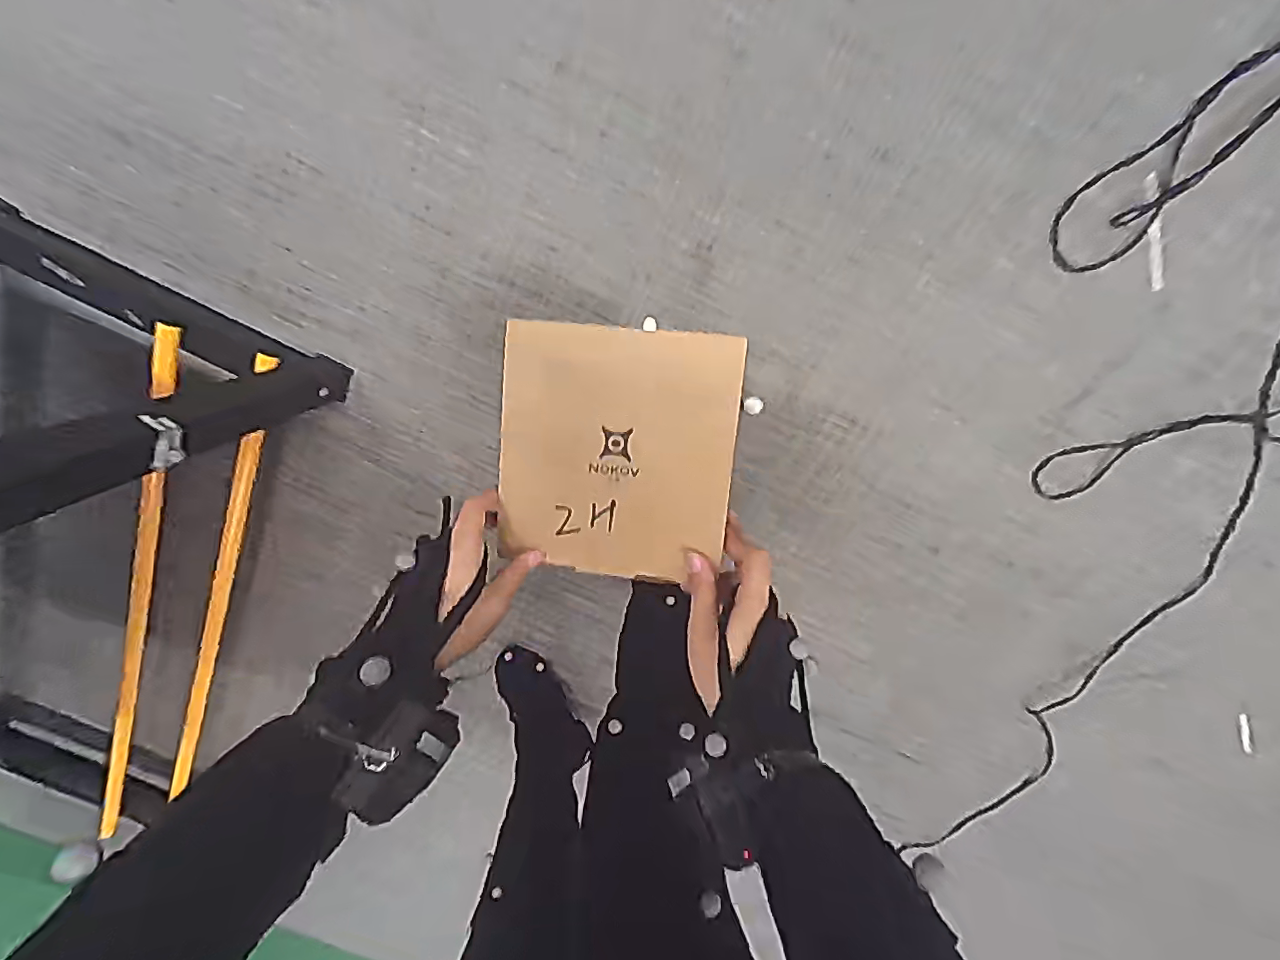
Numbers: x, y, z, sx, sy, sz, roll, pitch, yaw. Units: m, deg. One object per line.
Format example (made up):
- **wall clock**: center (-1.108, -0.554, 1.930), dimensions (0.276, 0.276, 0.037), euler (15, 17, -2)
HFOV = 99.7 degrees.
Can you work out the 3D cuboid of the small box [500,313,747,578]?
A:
- **small box**: center (-0.006, -0.035, 0.461), dimensions (0.168, 0.176, 0.179), euler (7, 100, 8)
